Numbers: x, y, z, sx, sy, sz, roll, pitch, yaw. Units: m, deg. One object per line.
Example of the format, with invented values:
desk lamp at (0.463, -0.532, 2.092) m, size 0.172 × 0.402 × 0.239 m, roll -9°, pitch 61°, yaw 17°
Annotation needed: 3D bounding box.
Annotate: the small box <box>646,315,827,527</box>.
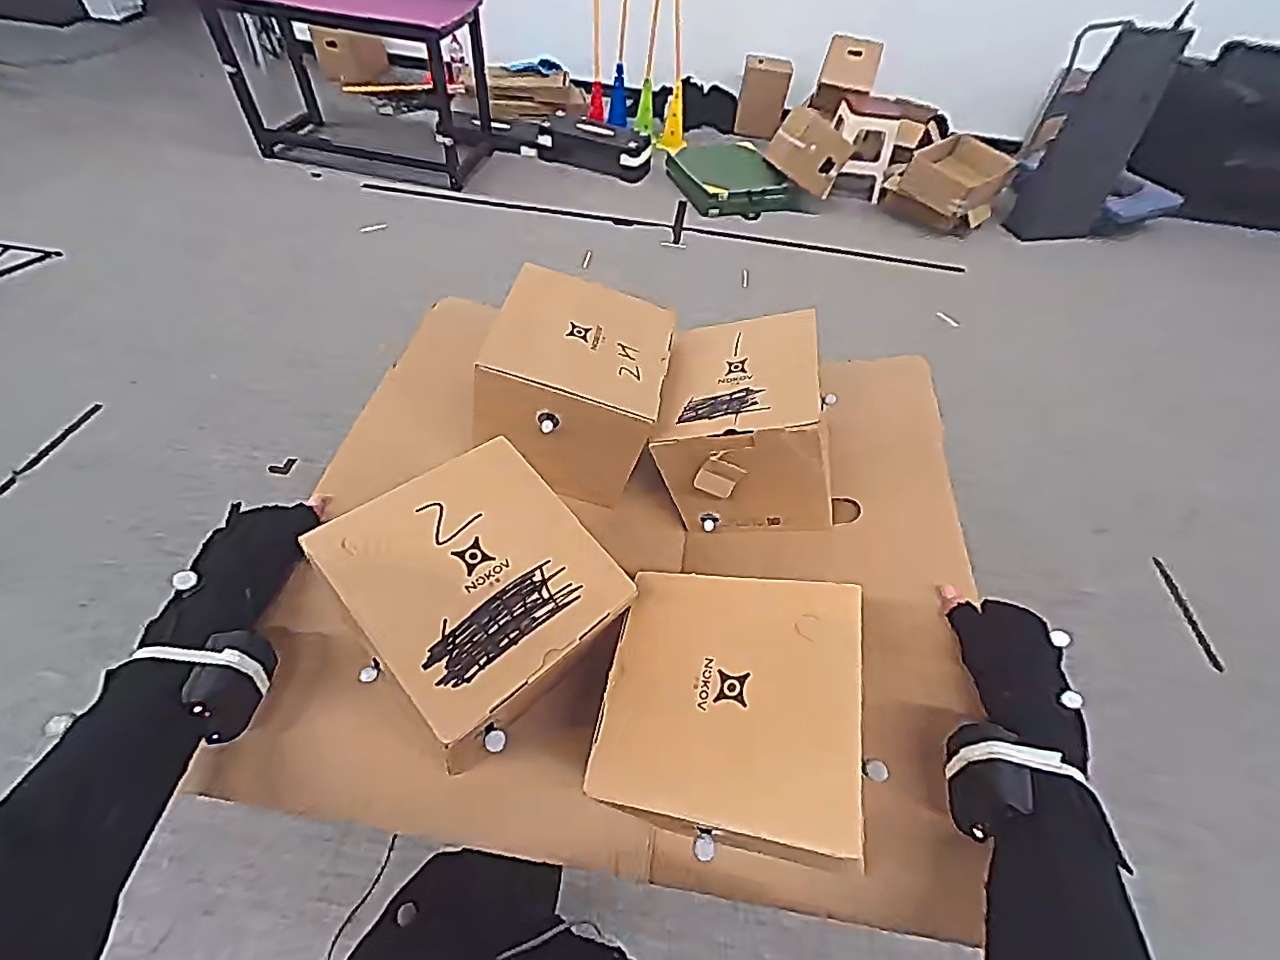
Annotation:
small box at (0.122, -0.057, 0.621) m, size 0.168 × 0.176 × 0.179 m, roll -4°, pitch 50°, yaw 21°
